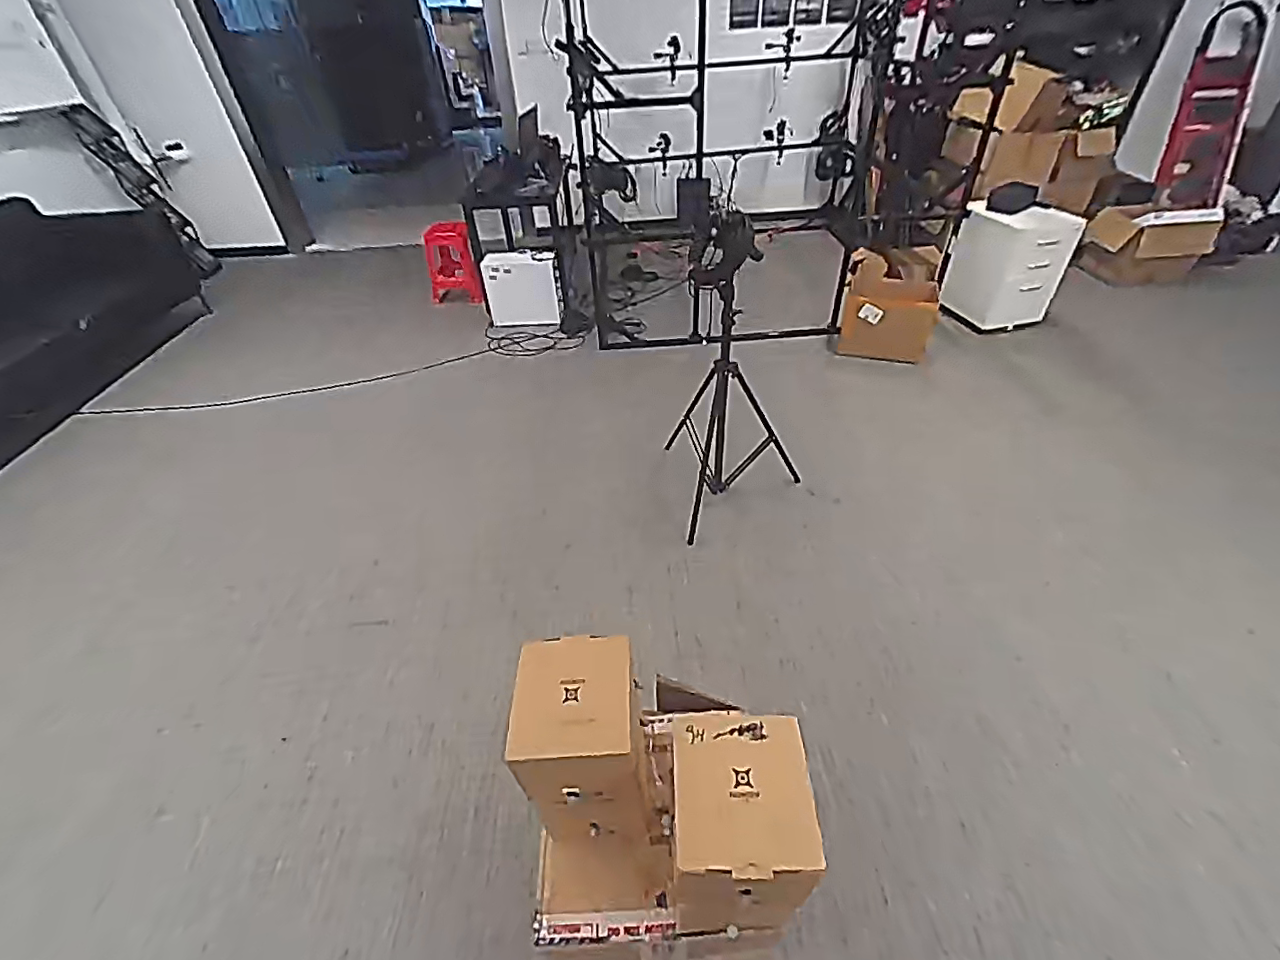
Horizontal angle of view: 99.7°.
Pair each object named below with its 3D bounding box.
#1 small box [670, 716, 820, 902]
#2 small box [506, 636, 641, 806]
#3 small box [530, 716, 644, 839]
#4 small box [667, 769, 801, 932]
[{"bbox_3d":[0.124,0.433,0.710,0.168,0.176,0.179,0,43,2],"label":"small box"},{"bbox_3d":[-0.089,0.359,0.809,0.168,0.176,0.179,-5,42,2],"label":"small box"},{"bbox_3d":[-0.081,0.481,0.918,0.168,0.176,0.179,-4,42,1],"label":"small box"},{"bbox_3d":[0.129,0.556,0.820,0.168,0.176,0.179,-3,42,0],"label":"small box"}]
